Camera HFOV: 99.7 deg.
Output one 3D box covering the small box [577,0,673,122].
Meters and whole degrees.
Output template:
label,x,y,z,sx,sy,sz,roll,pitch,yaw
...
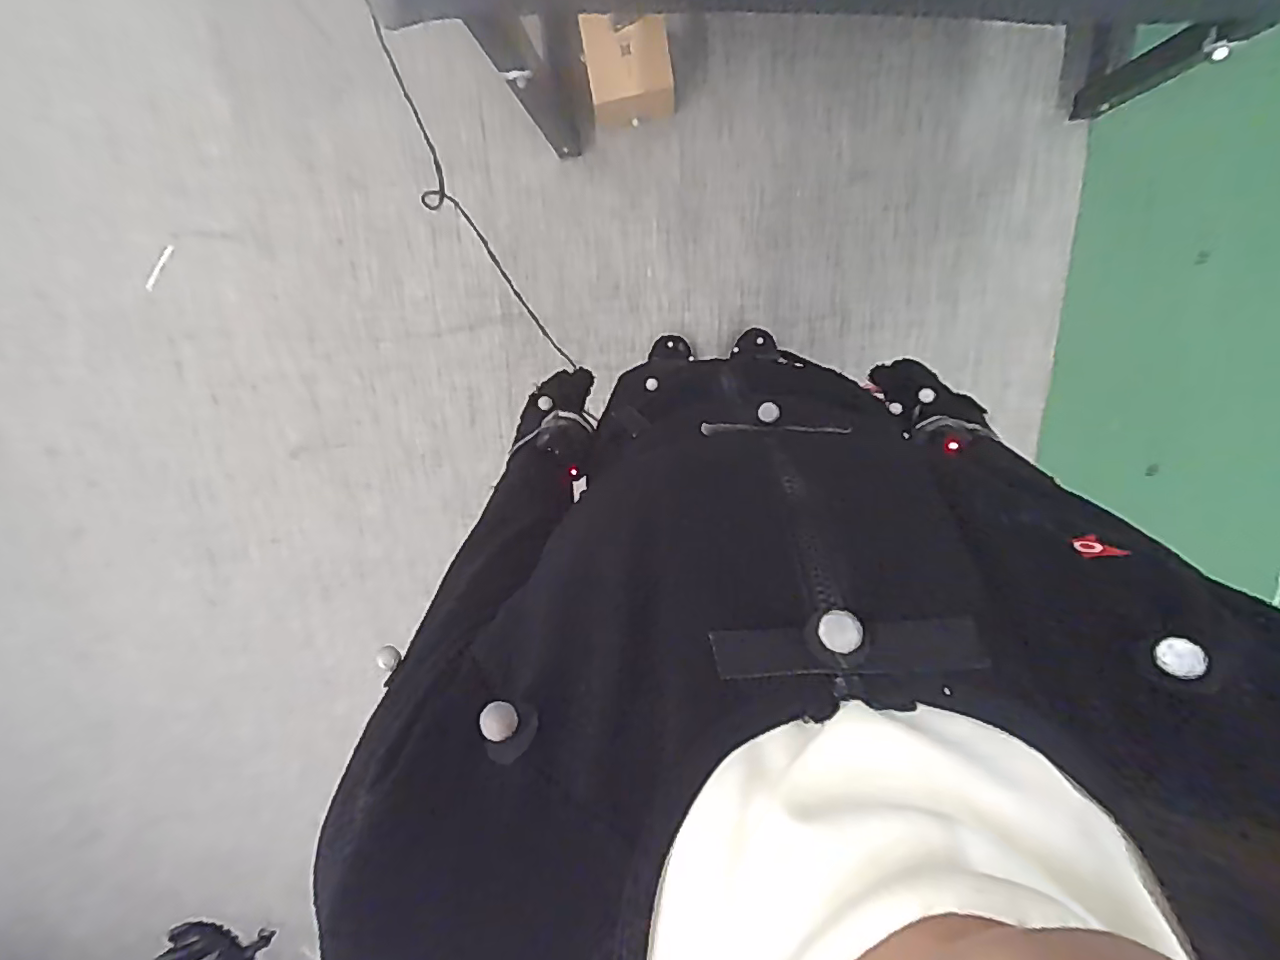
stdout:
label,x,y,z,sx,sy,sz,roll,pitch,yaw
small box,-0.026,-0.882,1.121,0.168,0.176,0.179,-9,106,6
